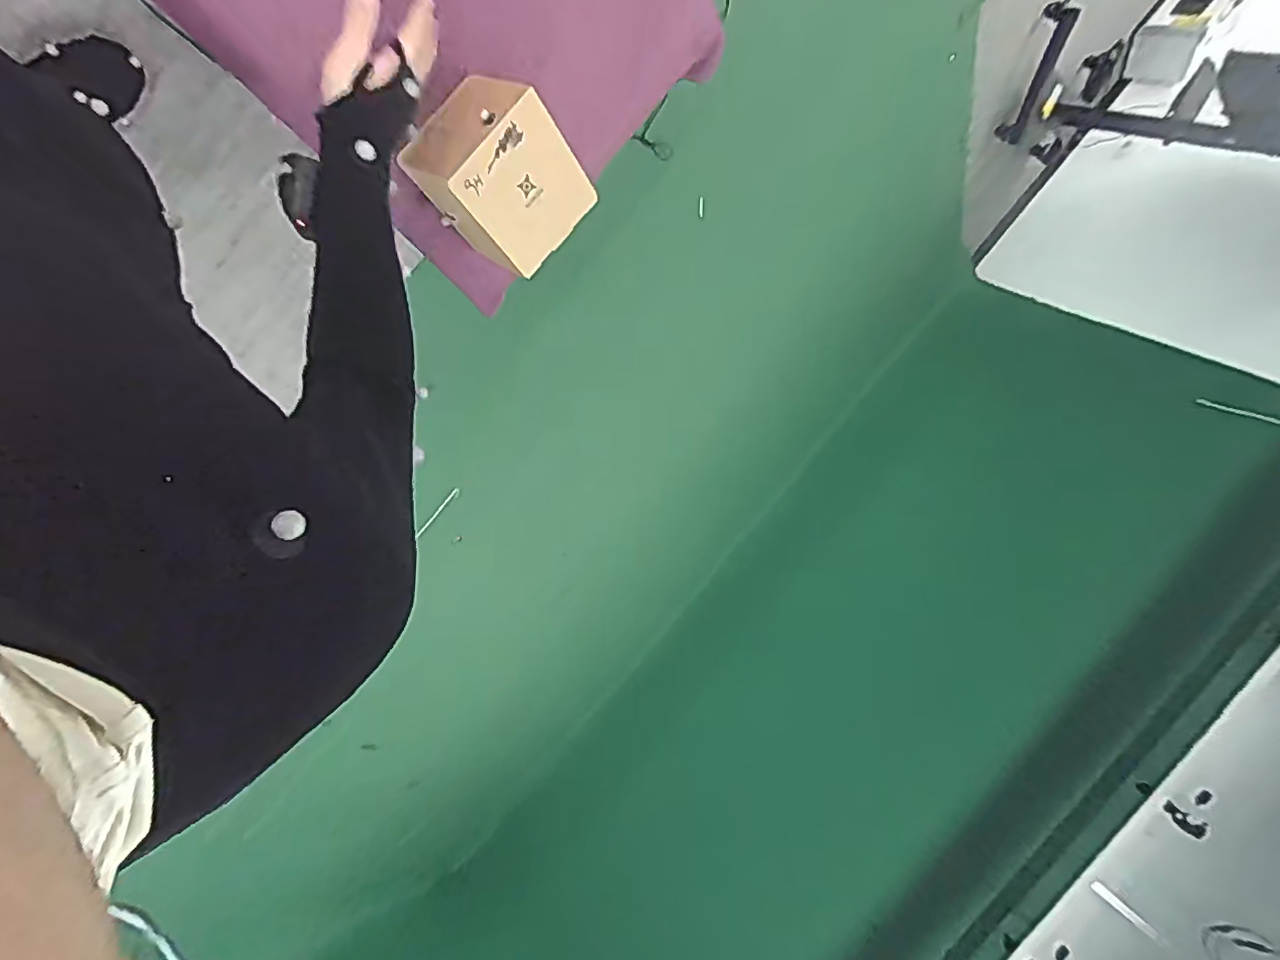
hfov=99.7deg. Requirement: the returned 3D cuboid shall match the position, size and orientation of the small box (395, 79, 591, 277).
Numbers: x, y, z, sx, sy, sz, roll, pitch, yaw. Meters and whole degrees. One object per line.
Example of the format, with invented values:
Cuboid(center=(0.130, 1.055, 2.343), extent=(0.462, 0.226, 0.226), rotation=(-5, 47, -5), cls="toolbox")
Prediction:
Cuboid(center=(-0.209, -0.436, 0.782), extent=(0.168, 0.176, 0.179), rotation=(-50, 146, -3), cls="small box")
